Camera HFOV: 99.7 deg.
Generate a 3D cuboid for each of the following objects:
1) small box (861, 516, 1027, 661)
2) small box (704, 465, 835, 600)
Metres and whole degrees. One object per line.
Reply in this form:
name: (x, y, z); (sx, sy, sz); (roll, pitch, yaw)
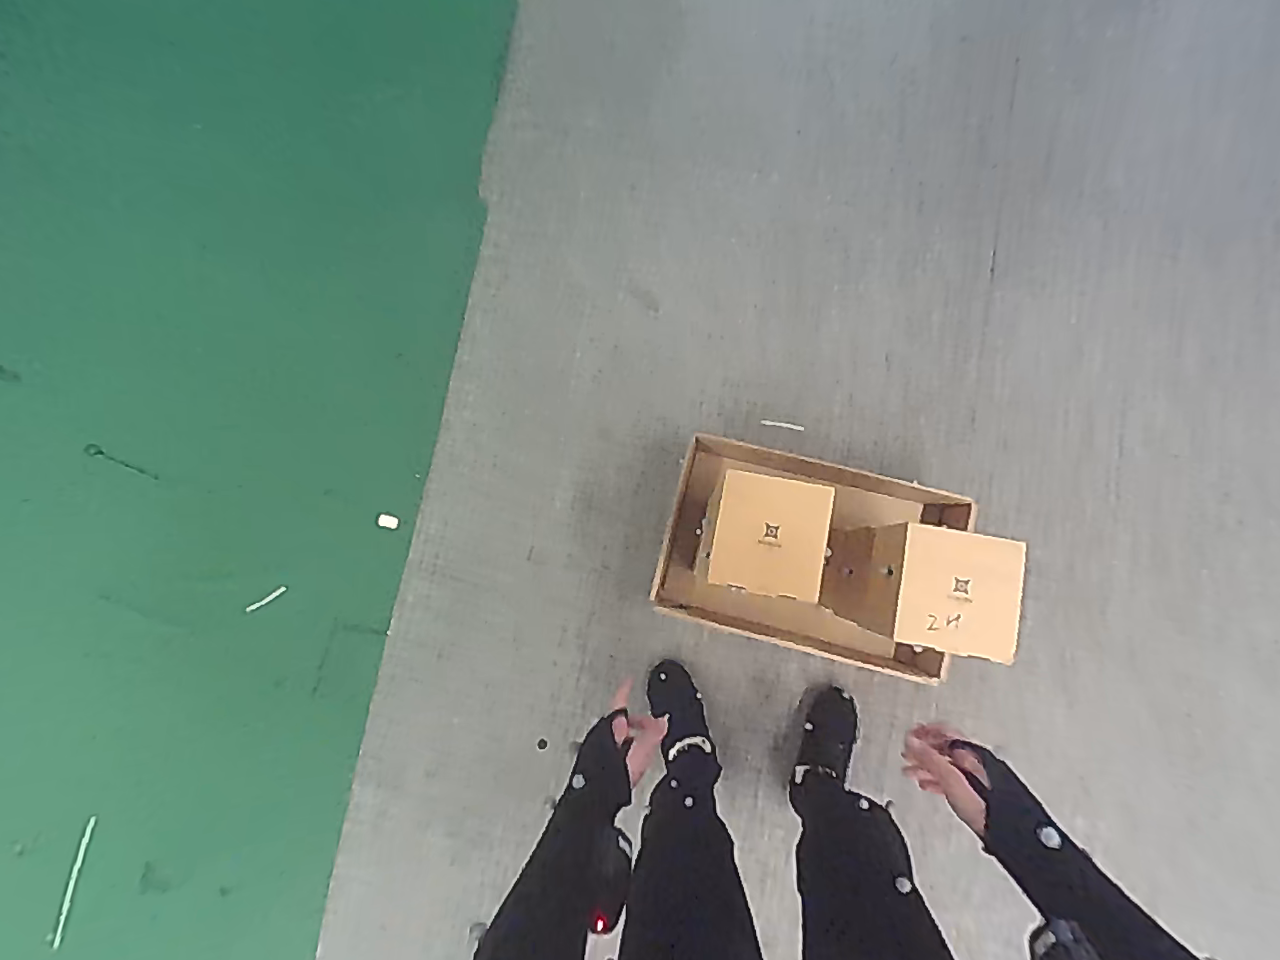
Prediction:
small box: (0.459, 0.161, 0.840); (0.168, 0.176, 0.179); (10, 83, 7)
small box: (0.199, 0.086, 0.874); (0.168, 0.176, 0.179); (10, 84, 6)
